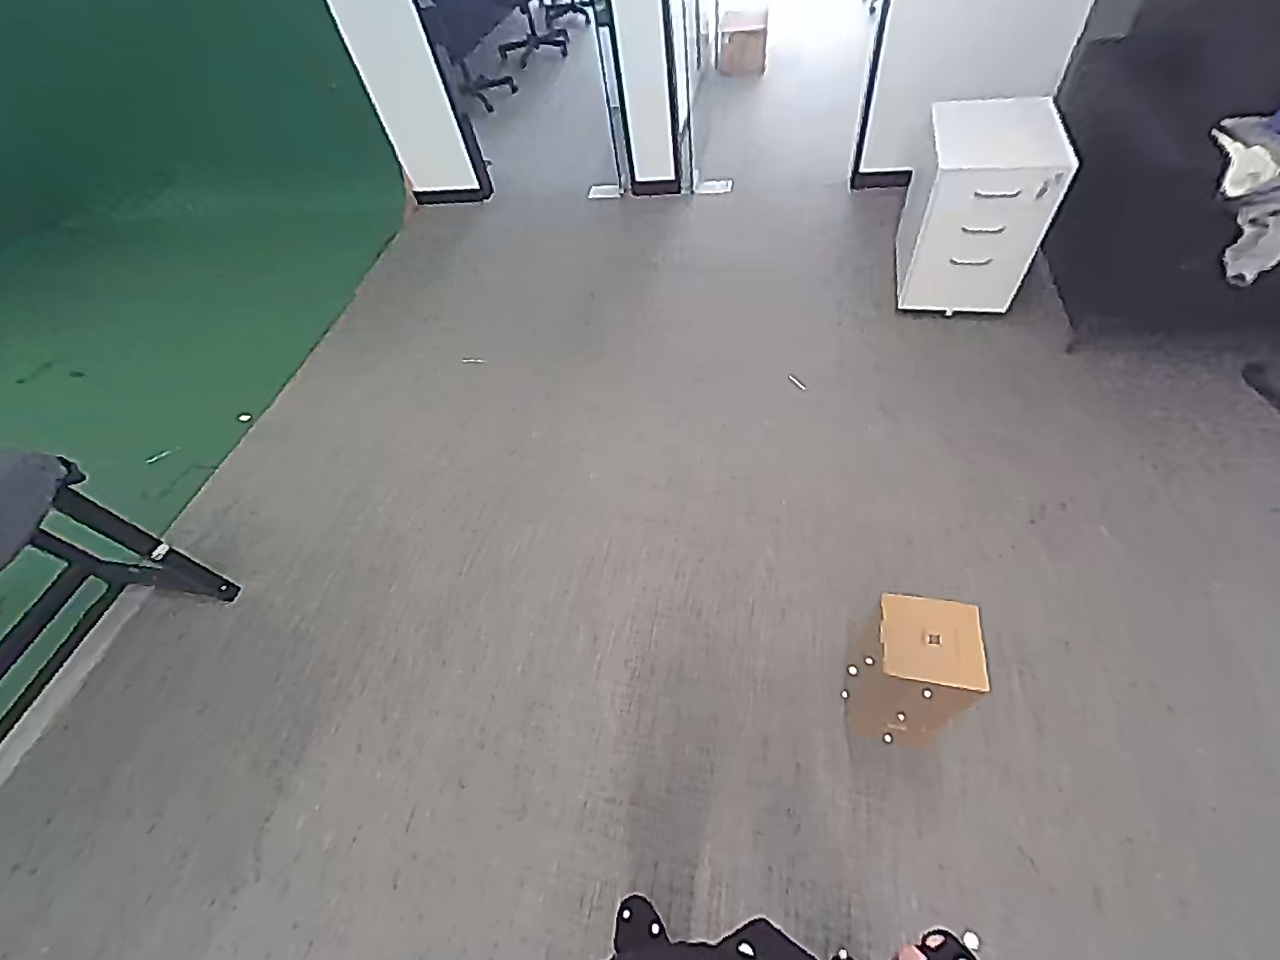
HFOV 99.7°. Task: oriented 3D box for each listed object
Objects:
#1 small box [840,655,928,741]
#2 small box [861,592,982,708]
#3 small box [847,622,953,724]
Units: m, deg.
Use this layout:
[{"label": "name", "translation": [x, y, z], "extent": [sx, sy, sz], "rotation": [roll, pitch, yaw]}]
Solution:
[{"label": "small box", "translation": [0.602, 0.534, 1.349], "extent": [0.168, 0.176, 0.179], "rotation": [7, 55, 12]}, {"label": "small box", "translation": [0.551, 0.345, 1.088], "extent": [0.179, 0.176, 0.168], "rotation": [6, 56, 11]}, {"label": "small box", "translation": [0.576, 0.437, 1.218], "extent": [0.179, 0.176, 0.168], "rotation": [5, 54, 13]}]
